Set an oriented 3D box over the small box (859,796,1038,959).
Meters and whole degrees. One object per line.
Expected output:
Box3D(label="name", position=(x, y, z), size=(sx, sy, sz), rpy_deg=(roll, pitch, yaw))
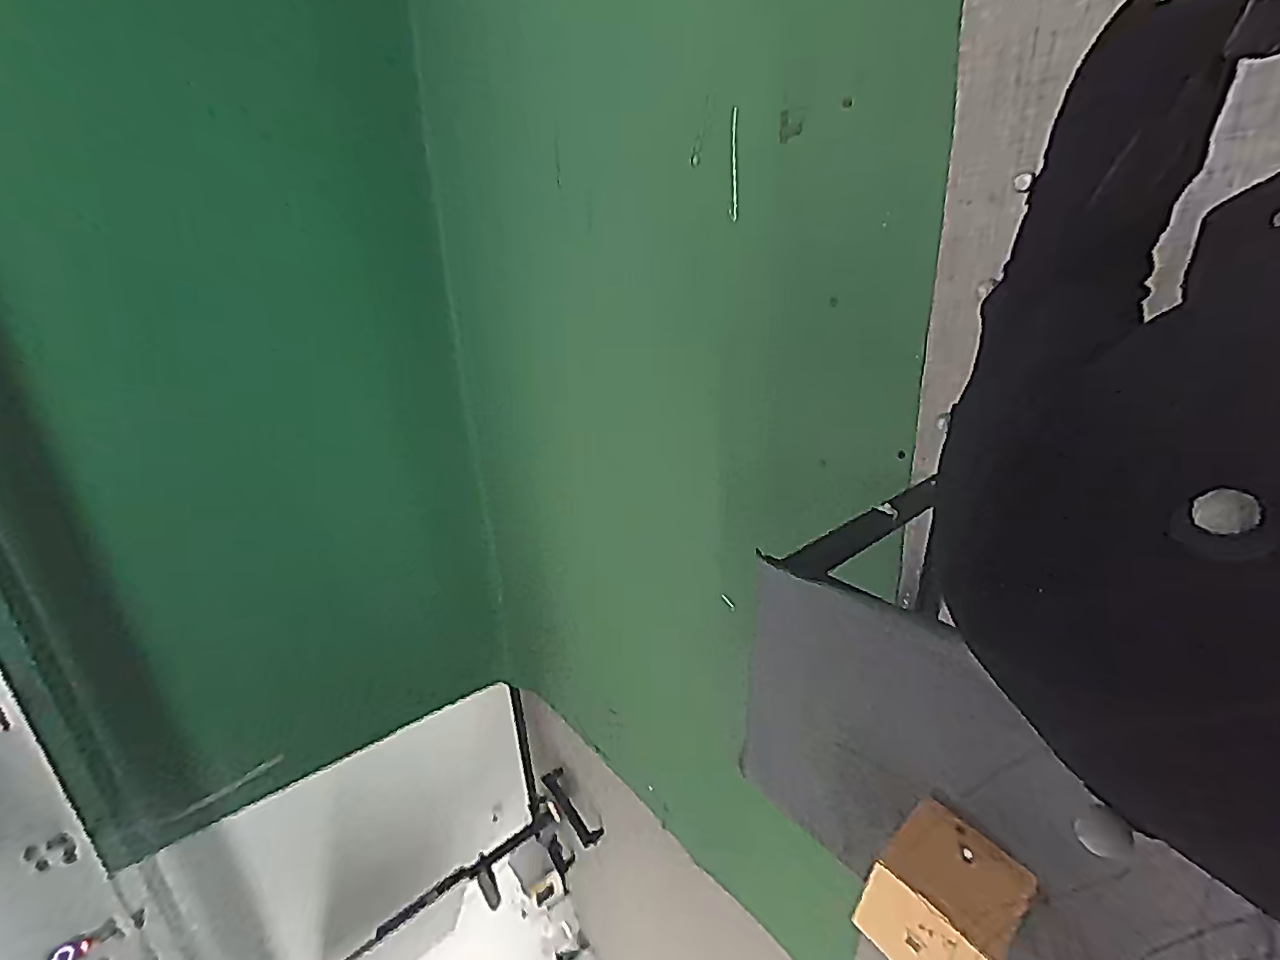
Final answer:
Box3D(label="small box", position=(0.472, 0.643, 0.831), size=(0.168, 0.176, 0.179), rpy_deg=(30, 127, 43))
